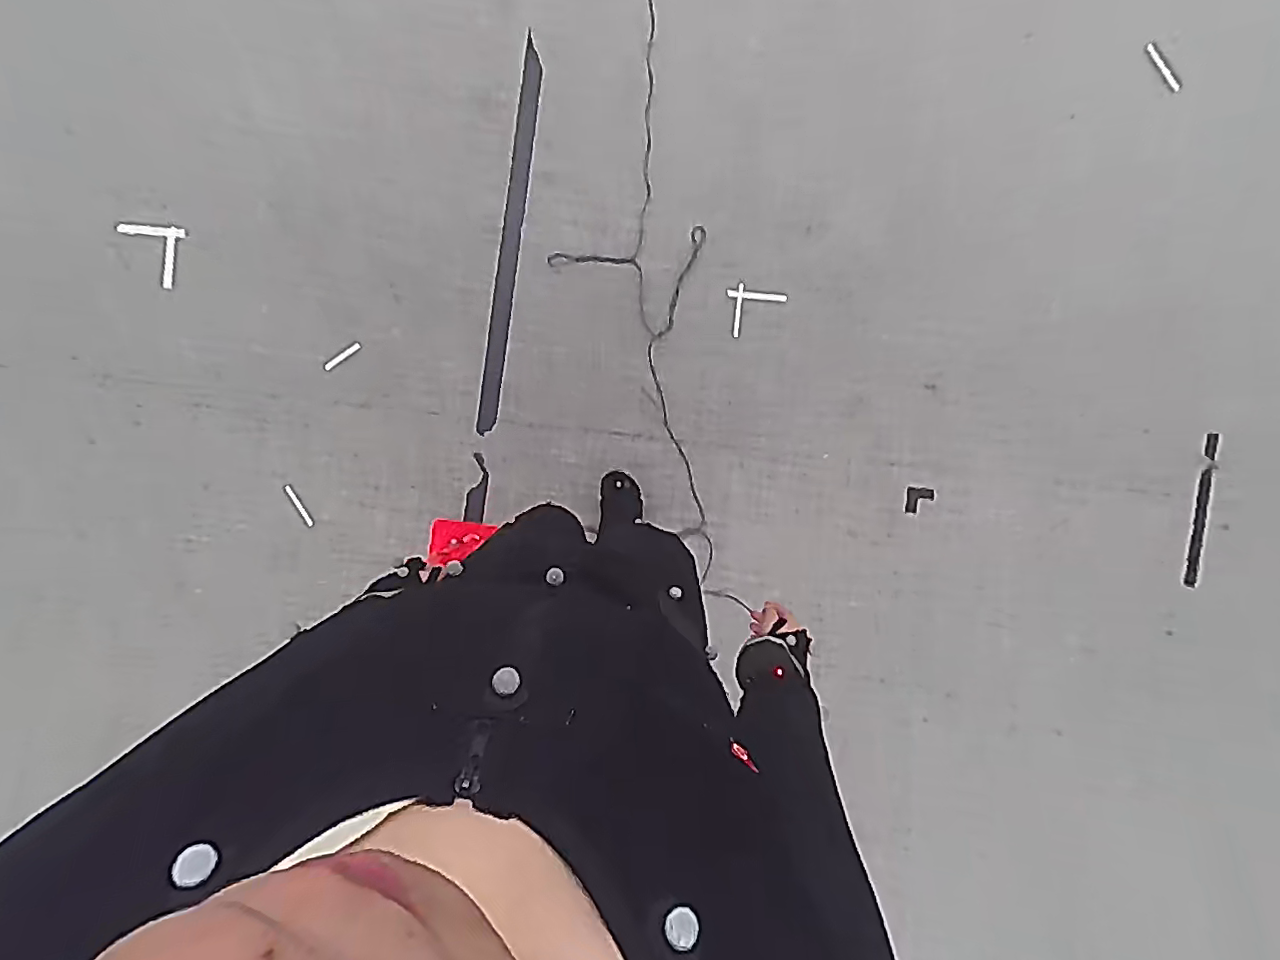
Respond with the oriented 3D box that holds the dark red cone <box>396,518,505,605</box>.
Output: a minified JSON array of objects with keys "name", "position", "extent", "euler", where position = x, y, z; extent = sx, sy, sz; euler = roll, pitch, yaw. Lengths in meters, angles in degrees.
[{"name":"dark red cone","position":[-0.434,0.200,1.178],"extent":[0.201,0.394,0.202],"euler":[7,90,-1]}]
